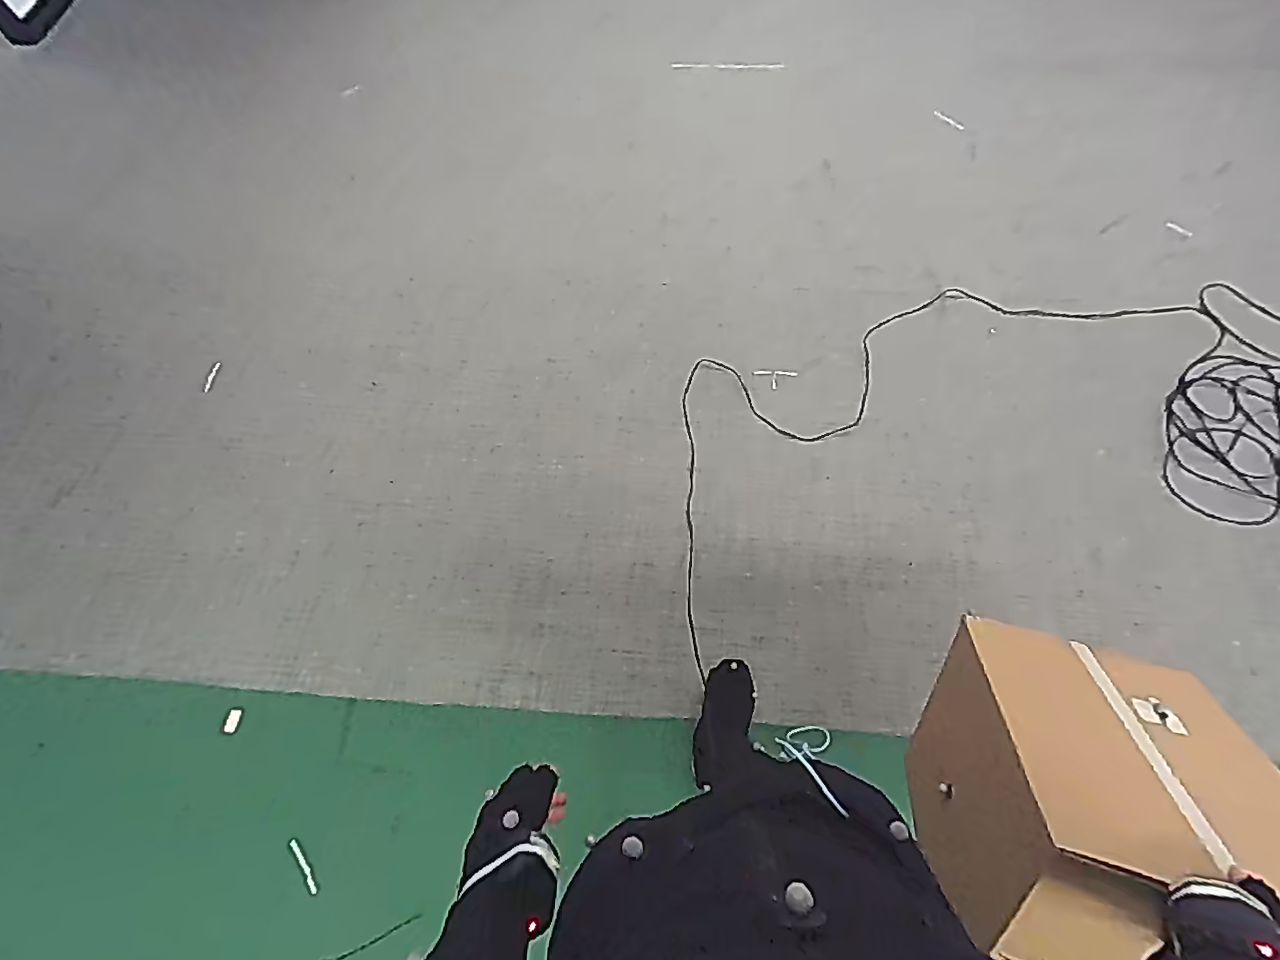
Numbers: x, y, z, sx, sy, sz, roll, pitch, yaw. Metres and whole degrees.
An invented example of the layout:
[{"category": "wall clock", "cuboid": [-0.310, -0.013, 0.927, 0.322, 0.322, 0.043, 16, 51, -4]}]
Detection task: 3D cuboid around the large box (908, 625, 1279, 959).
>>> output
[{"category": "large box", "cuboid": [0.581, 0.465, 0.707, 0.320, 0.320, 0.408, 14, 23, 14]}]
